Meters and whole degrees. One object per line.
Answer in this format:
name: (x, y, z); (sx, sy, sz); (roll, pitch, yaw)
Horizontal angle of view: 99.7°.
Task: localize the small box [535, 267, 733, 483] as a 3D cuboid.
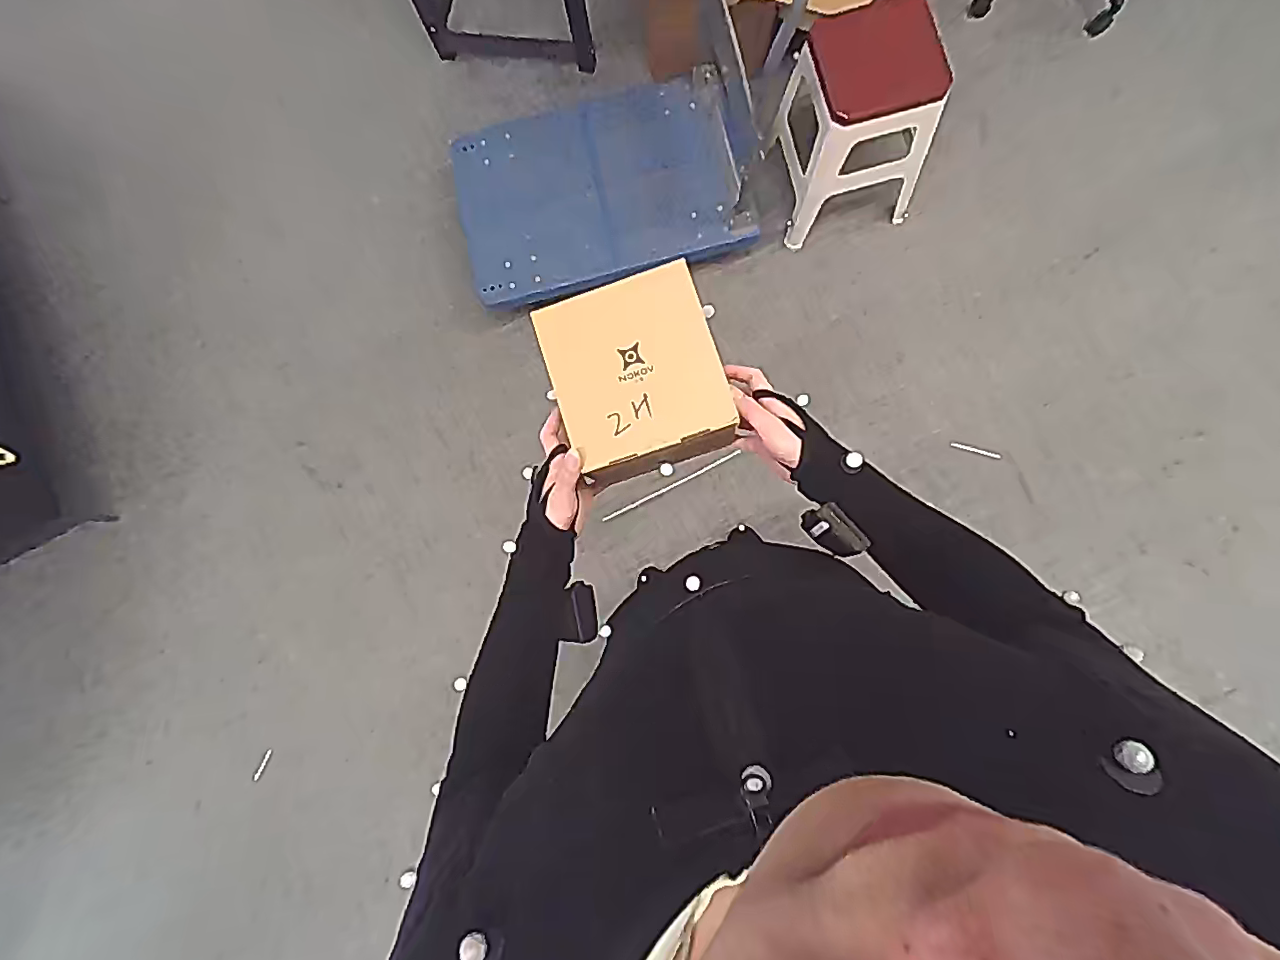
small box: (-0.002, -0.105, 0.621); (0.168, 0.176, 0.179); (-17, 84, 4)
